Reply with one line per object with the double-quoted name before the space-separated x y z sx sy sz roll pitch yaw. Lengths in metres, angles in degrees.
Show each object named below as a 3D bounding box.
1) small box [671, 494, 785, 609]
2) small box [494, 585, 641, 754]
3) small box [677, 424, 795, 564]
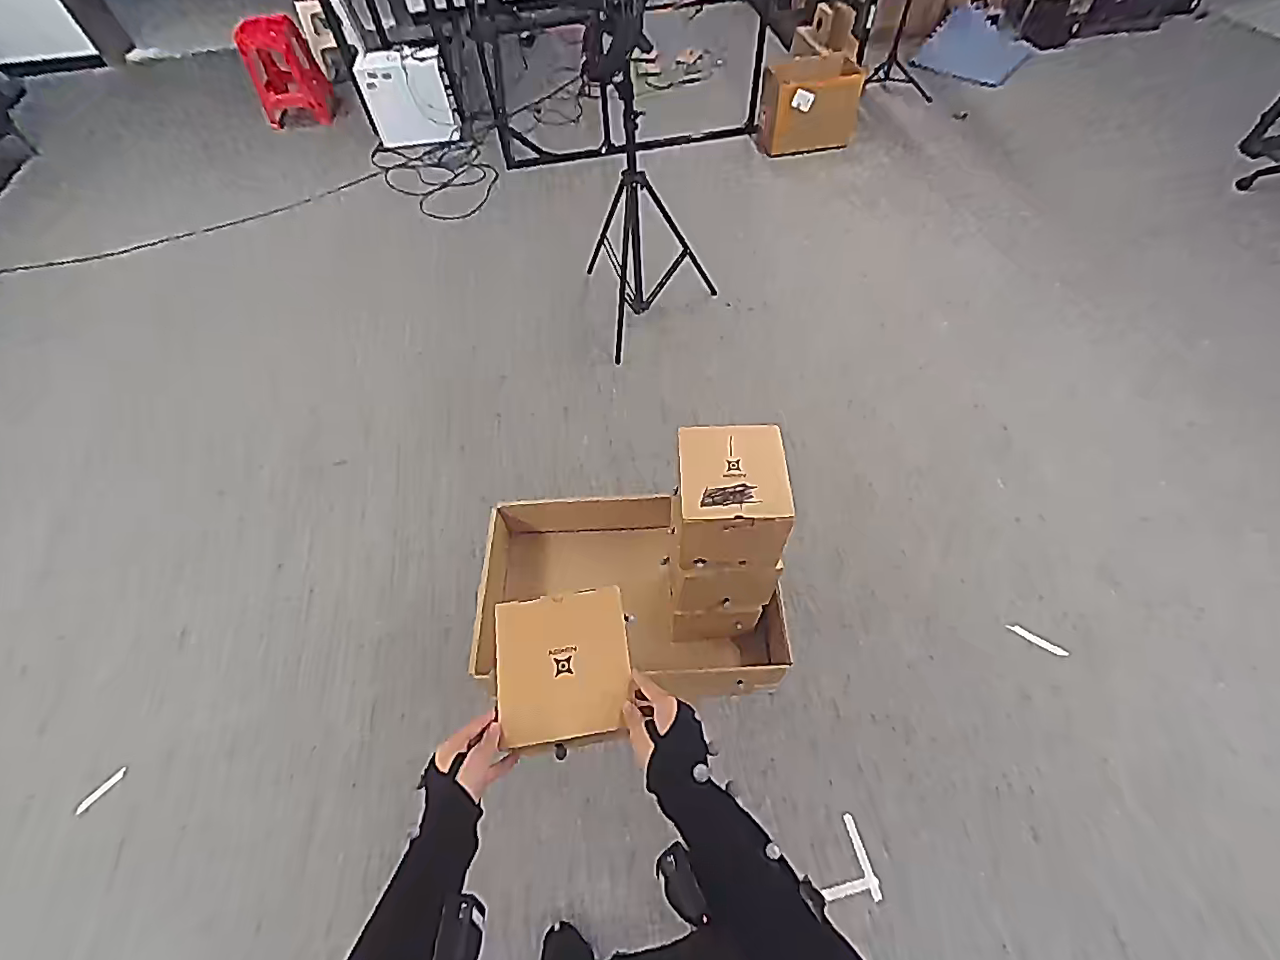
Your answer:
"small box" 0.153 0.132 1.011 0.179 0.176 0.168 -4 57 -1
"small box" -0.093 0.262 0.728 0.168 0.176 0.179 -9 60 -3
"small box" 0.146 0.029 0.882 0.168 0.176 0.179 -1 56 2
